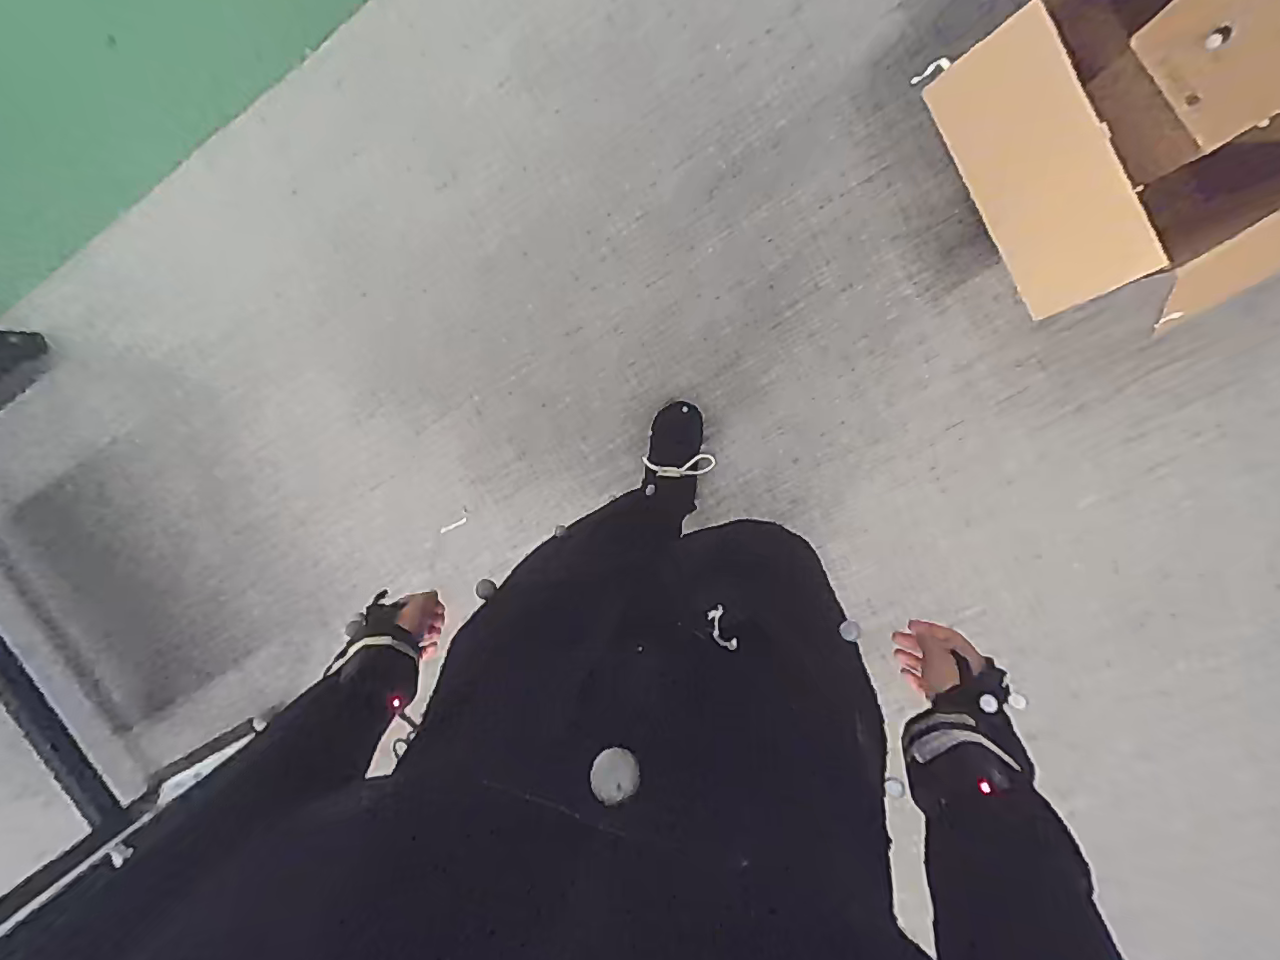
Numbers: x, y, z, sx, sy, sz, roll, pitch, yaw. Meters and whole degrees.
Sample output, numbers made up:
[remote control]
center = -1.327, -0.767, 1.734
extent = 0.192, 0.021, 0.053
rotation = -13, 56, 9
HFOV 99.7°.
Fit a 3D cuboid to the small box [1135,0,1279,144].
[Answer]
[small box]
center = 0.698, -0.513, 0.580
extent = 0.179, 0.176, 0.168
rotation = -37, 92, 10
